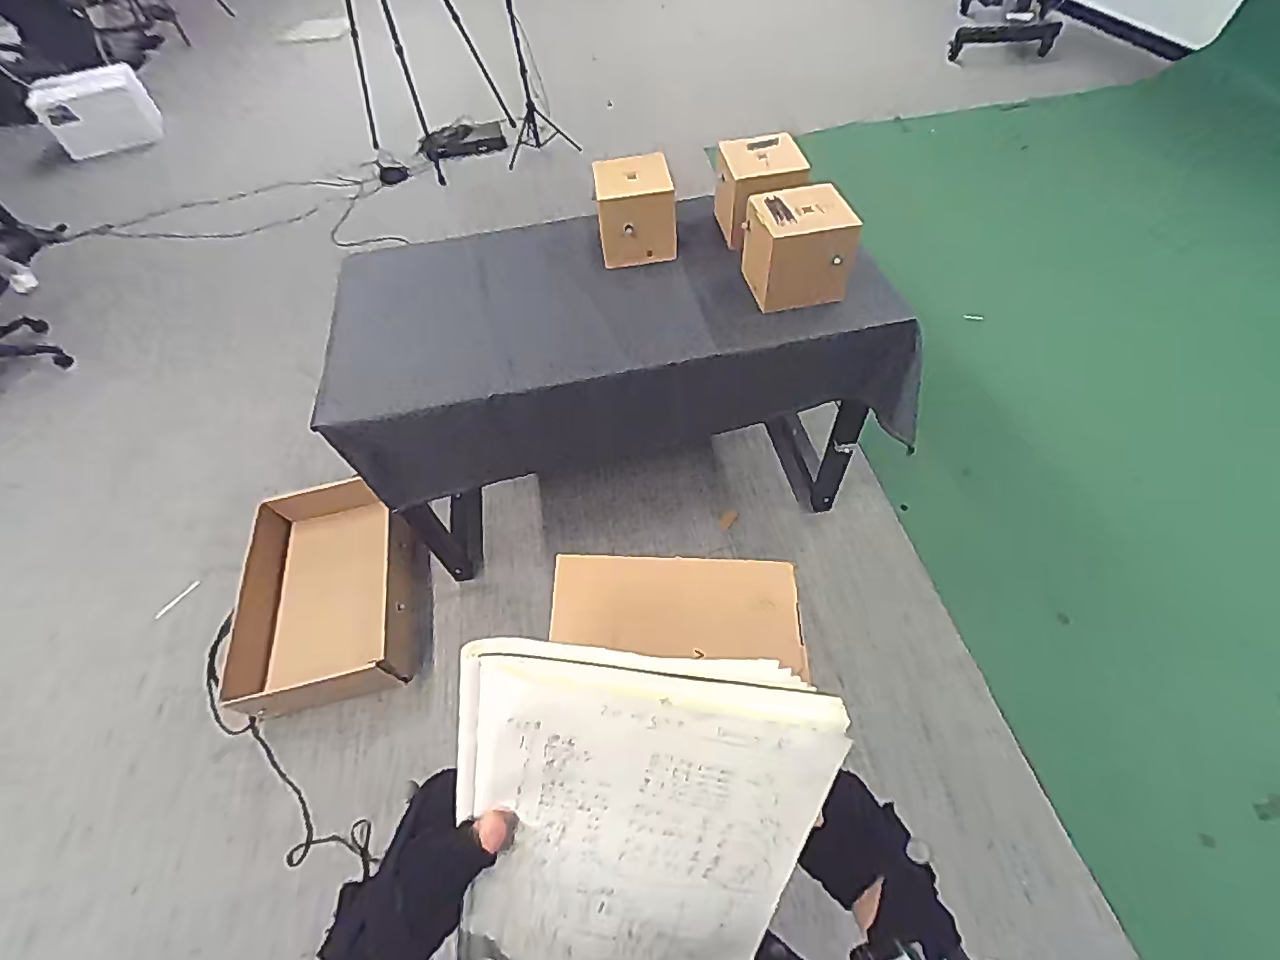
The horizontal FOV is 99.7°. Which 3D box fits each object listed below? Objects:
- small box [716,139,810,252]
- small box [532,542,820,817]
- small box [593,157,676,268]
[{"bbox_3d":[0.275,-0.658,1.256,0.168,0.176,0.179,-9,55,-1],"label":"small box"},{"bbox_3d":[0.022,0.160,0.429,0.179,0.176,0.168,3,61,-1],"label":"small box"},{"bbox_3d":[-0.011,-0.610,1.250,0.168,0.176,0.179,-8,54,-1],"label":"small box"}]
